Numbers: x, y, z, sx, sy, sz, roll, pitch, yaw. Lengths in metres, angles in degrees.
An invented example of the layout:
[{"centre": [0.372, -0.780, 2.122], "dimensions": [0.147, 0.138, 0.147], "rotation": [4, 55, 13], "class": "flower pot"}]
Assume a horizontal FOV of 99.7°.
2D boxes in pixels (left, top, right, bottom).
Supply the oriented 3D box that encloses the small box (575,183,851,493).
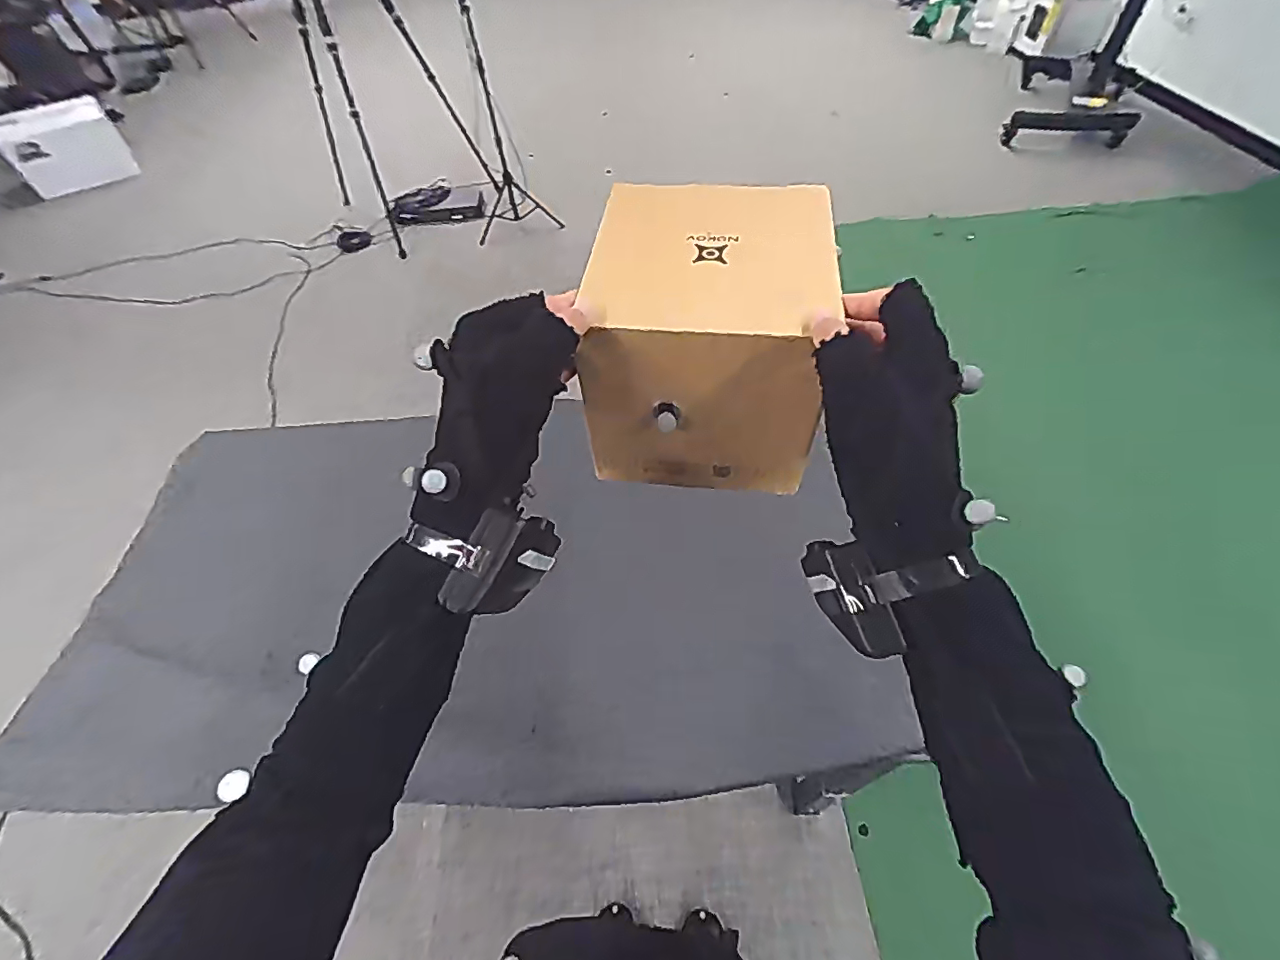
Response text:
[{"centre": [0.058, -0.107, 0.426], "dimensions": [0.168, 0.176, 0.179], "rotation": [5, 55, 7], "class": "small box"}]
